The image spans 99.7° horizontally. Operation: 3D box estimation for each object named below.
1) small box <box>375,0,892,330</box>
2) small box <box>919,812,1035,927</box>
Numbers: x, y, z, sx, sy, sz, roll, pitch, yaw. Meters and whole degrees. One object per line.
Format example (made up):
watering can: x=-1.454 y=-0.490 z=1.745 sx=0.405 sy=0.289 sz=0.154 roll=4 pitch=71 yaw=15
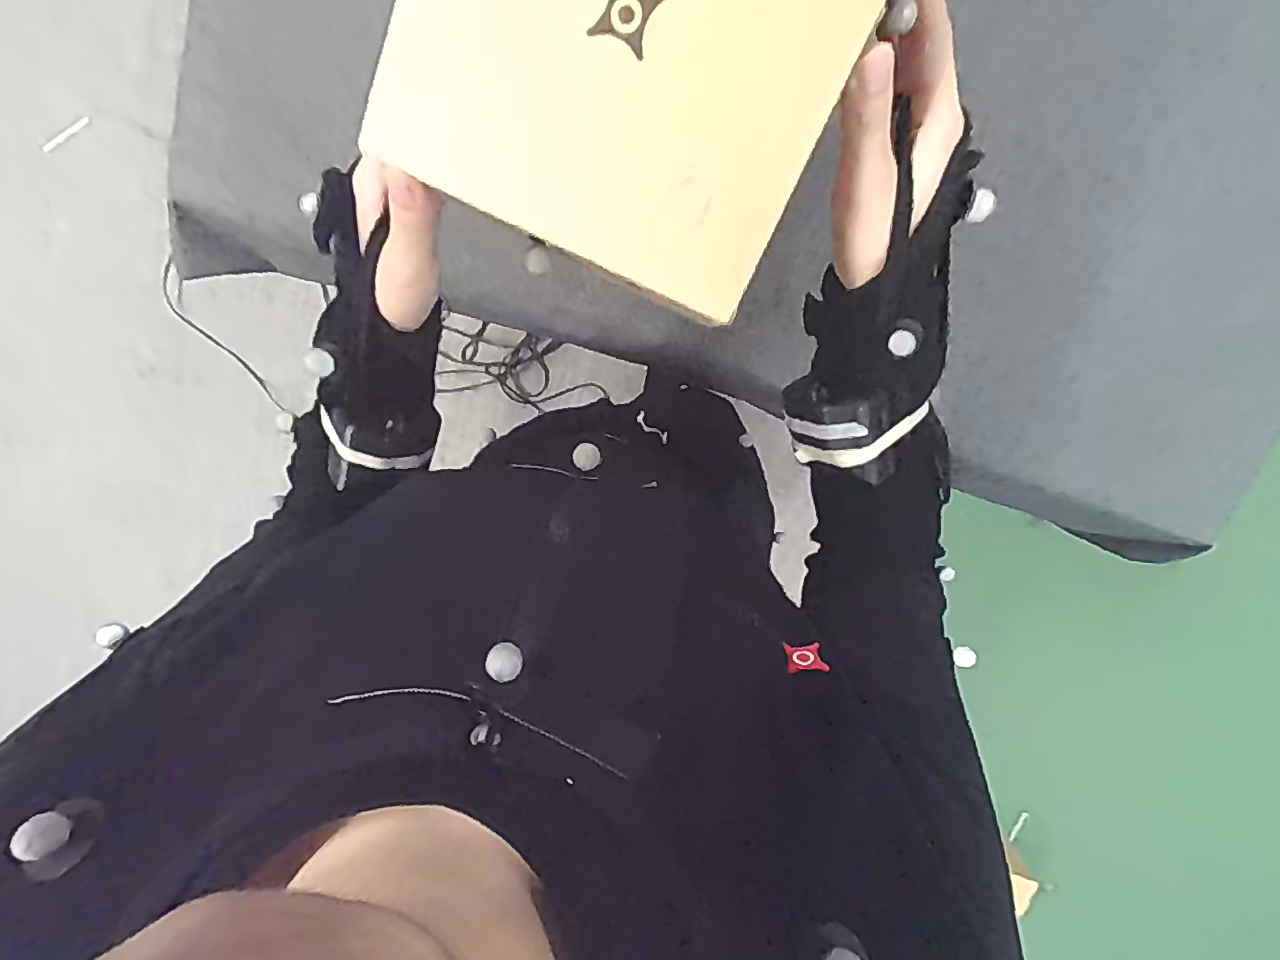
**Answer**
small box: x=0.007 y=-0.188 z=0.275 sx=0.168 sy=0.176 sz=0.179 roll=25 pitch=105 yaw=-1
small box: x=0.902 y=1.046 z=1.465 sx=0.179 sy=0.176 sz=0.168 roll=19 pitch=101 yaw=-1
